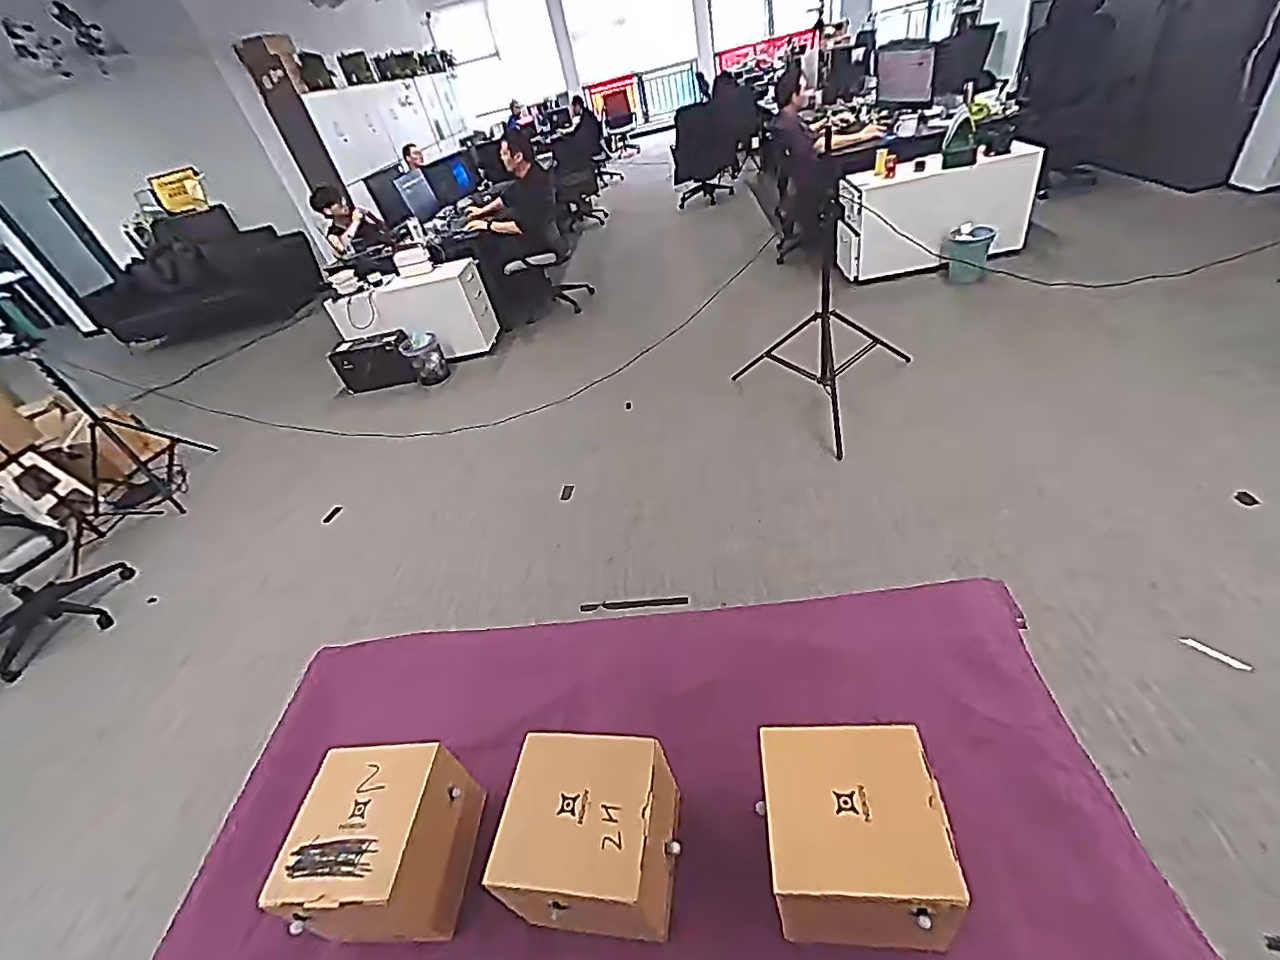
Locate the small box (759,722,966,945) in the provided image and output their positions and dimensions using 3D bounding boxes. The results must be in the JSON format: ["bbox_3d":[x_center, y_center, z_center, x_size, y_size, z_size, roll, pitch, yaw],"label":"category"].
[{"bbox_3d":[0.236,0.397,0.611,0.179,0.176,0.168,-6,37,11],"label":"small box"}]

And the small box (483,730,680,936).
[{"bbox_3d":[-0.057,0.431,0.665,0.179,0.176,0.168,-3,40,14],"label":"small box"}]
